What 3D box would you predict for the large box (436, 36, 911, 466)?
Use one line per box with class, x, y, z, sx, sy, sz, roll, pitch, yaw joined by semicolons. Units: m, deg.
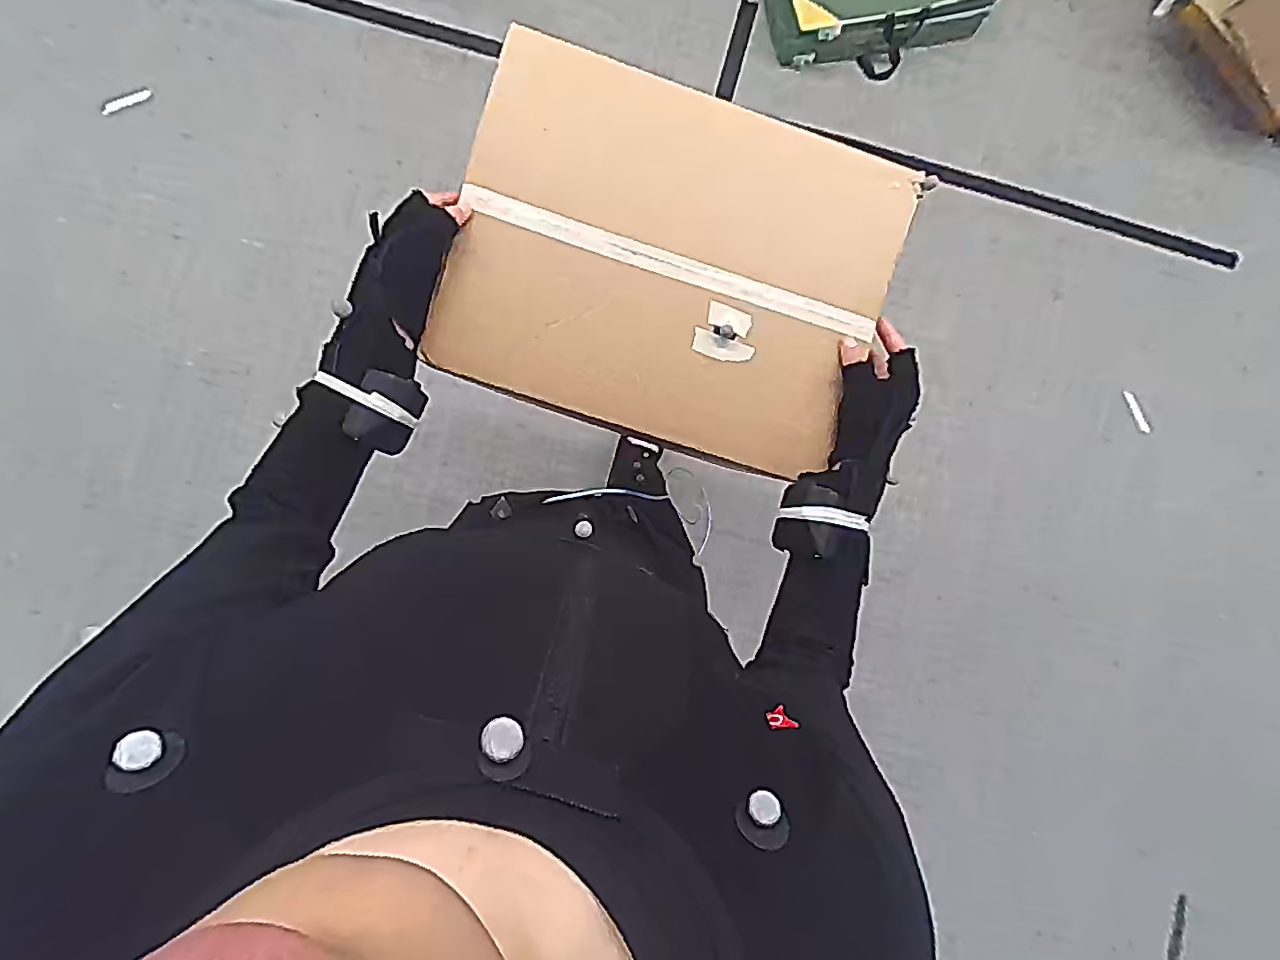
large box;0.025;-0.224;0.670;0.408;0.320;0.320;17;94;-4
